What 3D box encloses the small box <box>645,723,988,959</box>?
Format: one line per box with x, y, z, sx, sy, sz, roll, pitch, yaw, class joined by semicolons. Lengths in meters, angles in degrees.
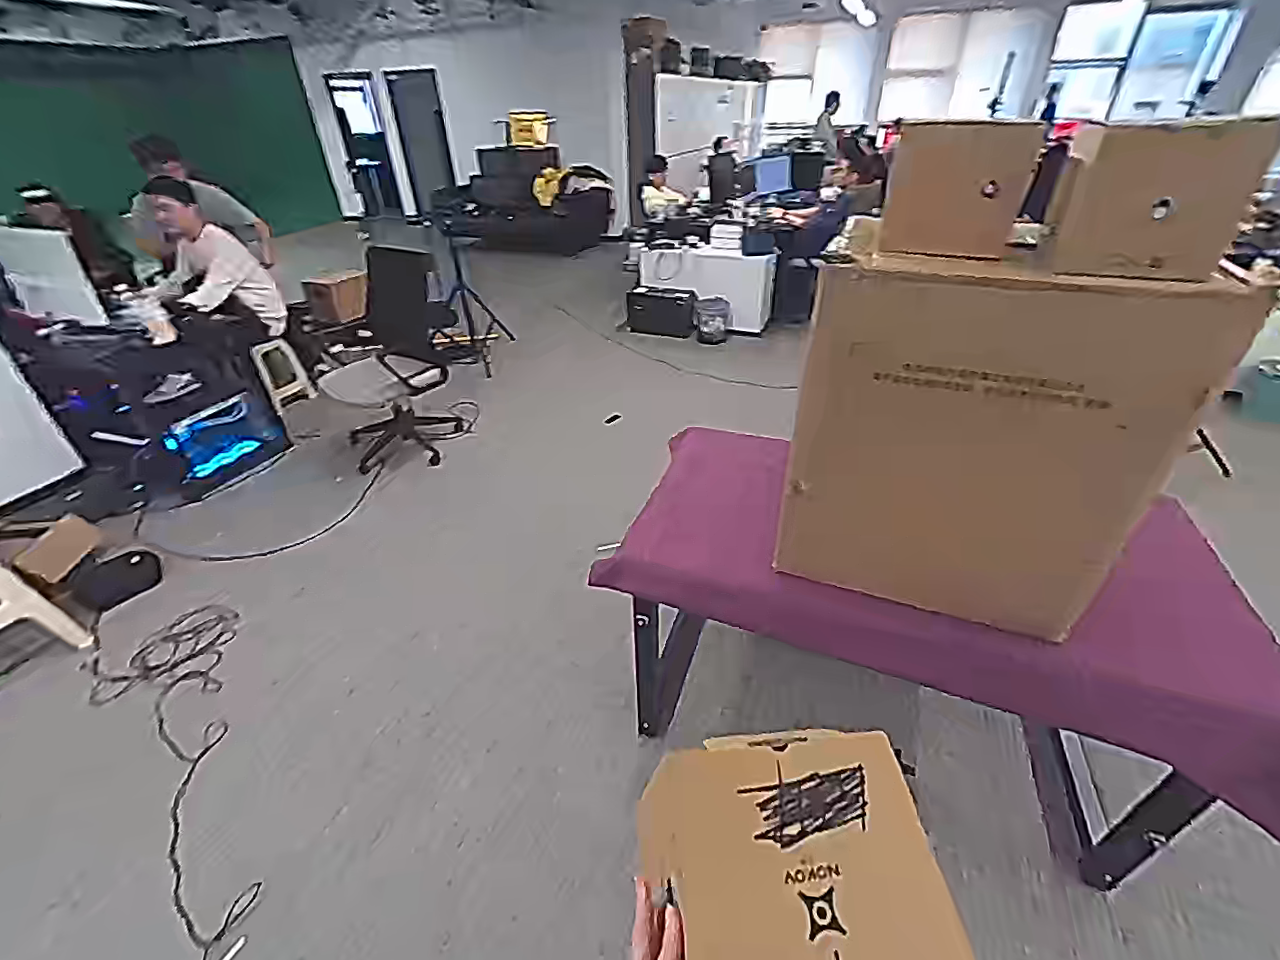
0.101;0.295;0.380;0.168;0.176;0.179;-1;48;-10;small box

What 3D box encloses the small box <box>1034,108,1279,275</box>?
0.647;-0.375;0.704;0.168;0.176;0.179;13;37;21;small box

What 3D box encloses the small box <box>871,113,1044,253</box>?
0.465;-0.448;0.817;0.179;0.176;0.168;12;36;19;small box
